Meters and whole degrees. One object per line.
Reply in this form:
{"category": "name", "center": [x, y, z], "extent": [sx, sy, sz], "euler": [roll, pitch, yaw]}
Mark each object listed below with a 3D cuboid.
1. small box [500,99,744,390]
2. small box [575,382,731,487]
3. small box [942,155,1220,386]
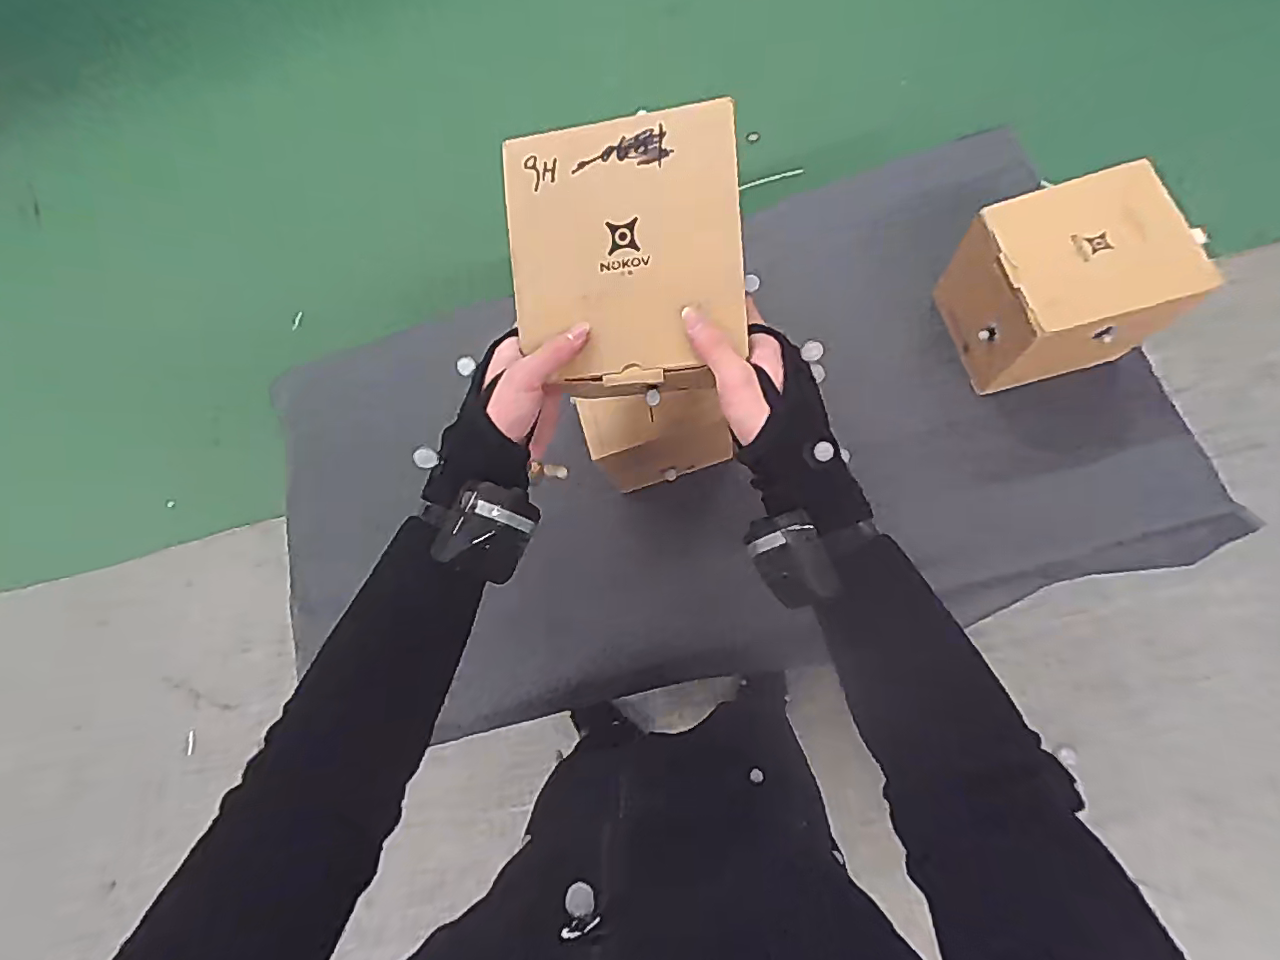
{"category": "small box", "center": [0.001, -0.169, 0.455], "extent": [0.168, 0.176, 0.179], "euler": [-3, 95, 10]}
{"category": "small box", "center": [0.014, -0.109, 0.702], "extent": [0.168, 0.176, 0.179], "euler": [-18, 74, 6]}
{"category": "small box", "center": [0.489, -0.231, 0.642], "extent": [0.179, 0.176, 0.168], "euler": [-15, 75, 6]}
